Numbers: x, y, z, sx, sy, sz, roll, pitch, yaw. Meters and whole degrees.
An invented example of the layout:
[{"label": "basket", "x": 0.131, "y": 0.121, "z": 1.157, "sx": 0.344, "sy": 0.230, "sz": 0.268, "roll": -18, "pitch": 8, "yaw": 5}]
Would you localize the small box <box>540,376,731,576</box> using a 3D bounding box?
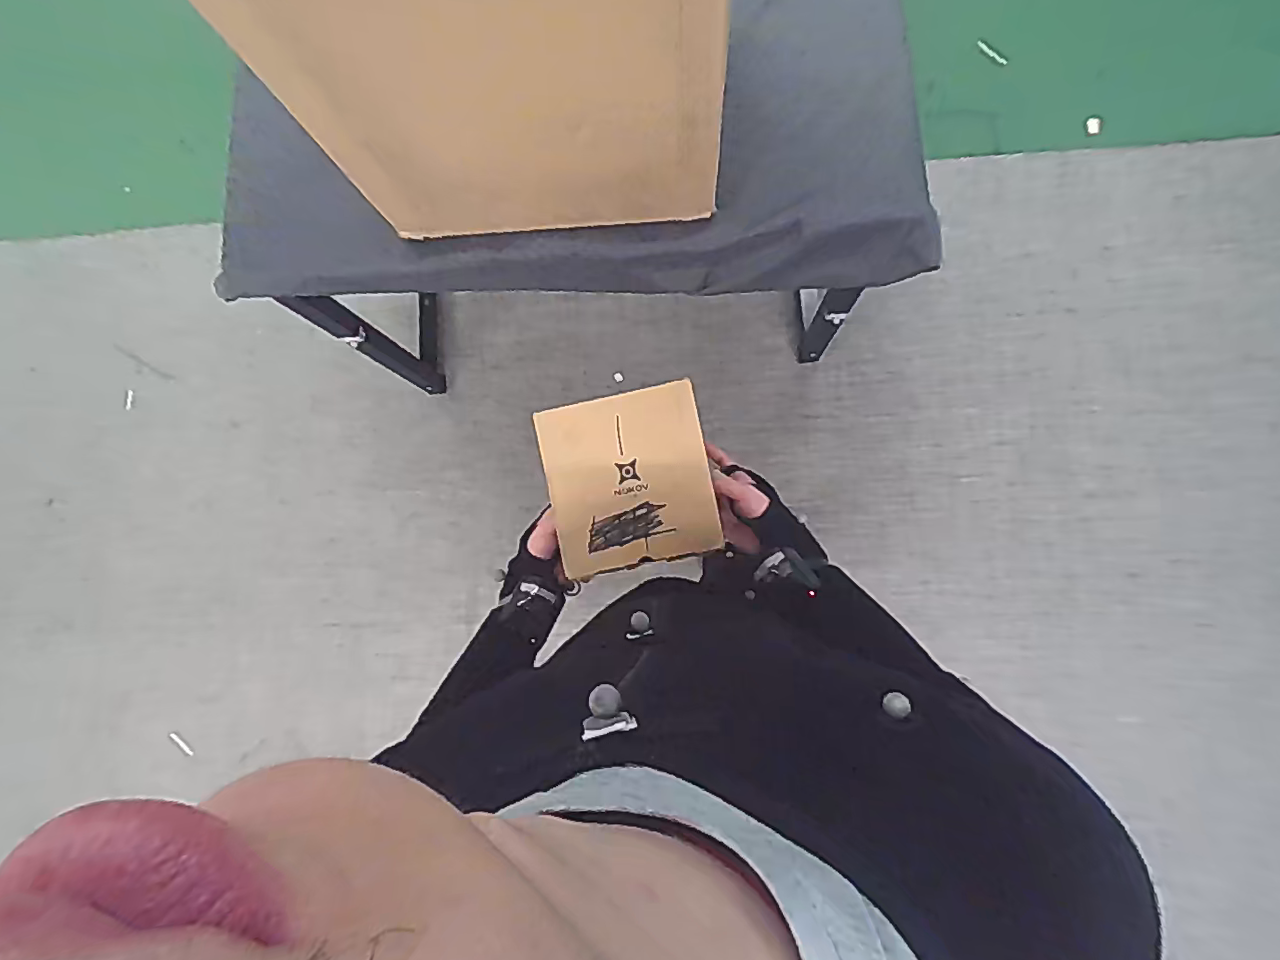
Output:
[{"label": "small box", "x": 0.001, "y": -0.005, "z": 0.620, "sx": 0.168, "sy": 0.176, "sz": 0.179, "roll": -13, "pitch": 89, "yaw": 4}]
